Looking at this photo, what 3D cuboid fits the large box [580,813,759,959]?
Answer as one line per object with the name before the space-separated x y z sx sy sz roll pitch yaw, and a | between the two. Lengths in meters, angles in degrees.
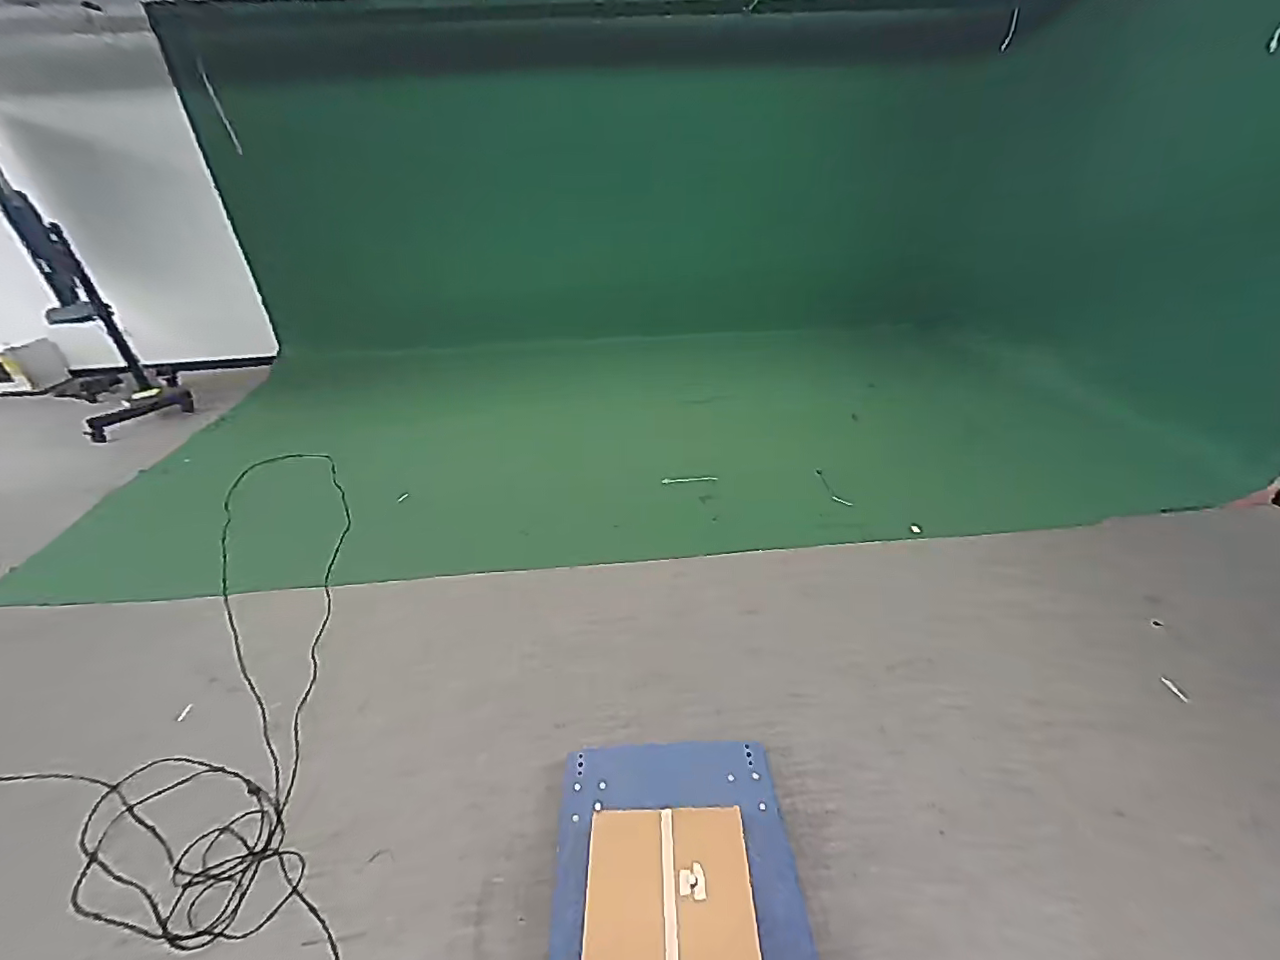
large box | 0.057 0.939 1.048 0.320 0.320 0.408 -1 32 1
